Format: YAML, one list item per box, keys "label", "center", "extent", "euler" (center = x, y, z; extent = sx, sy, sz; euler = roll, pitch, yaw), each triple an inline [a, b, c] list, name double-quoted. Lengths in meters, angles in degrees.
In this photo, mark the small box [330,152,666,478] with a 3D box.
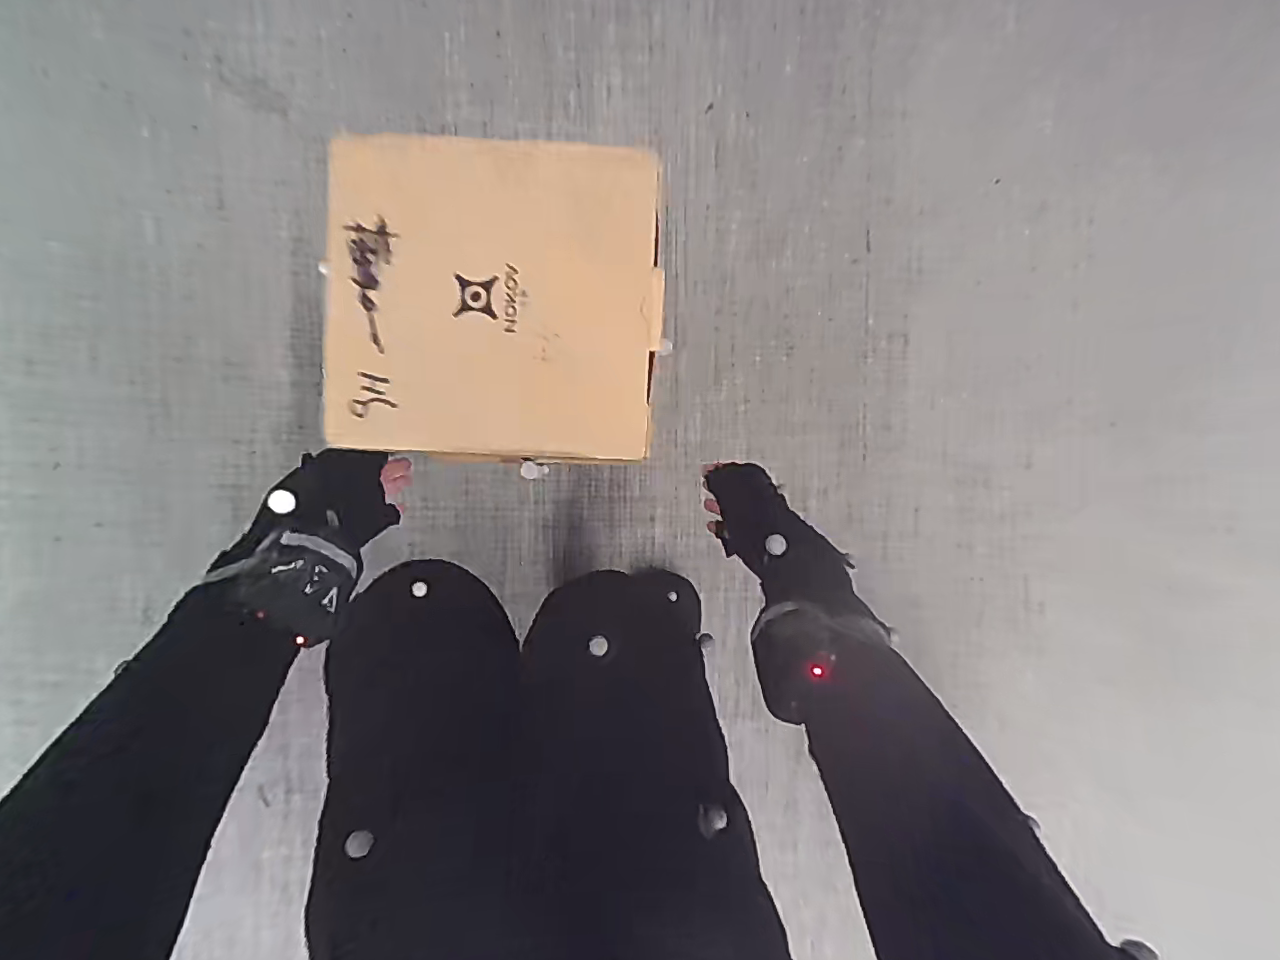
- label: "small box"
  center: [-0.080, -0.090, 0.373]
  extent: [0.179, 0.176, 0.168]
  euler: [3, 91, -2]
